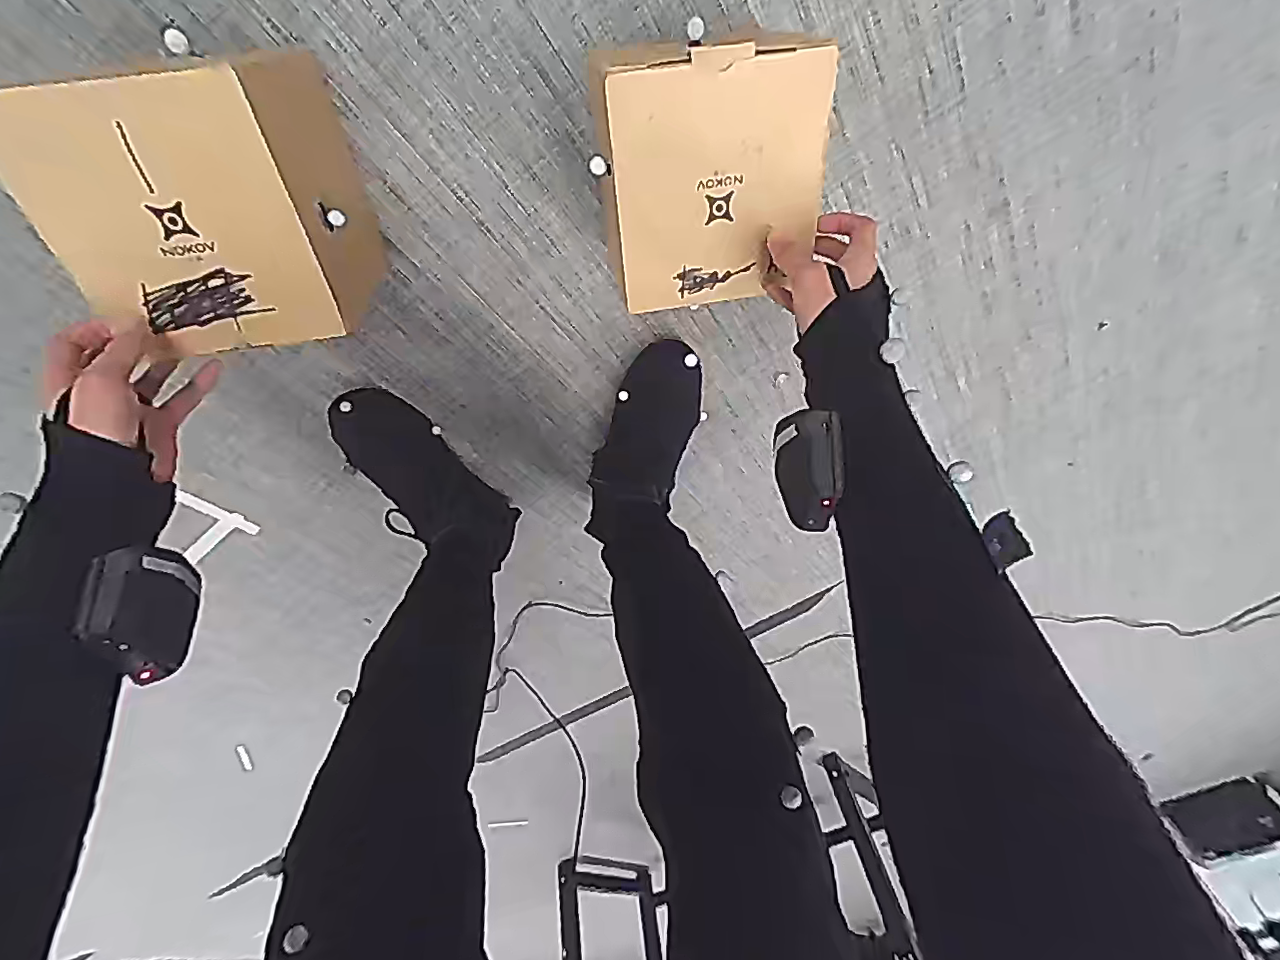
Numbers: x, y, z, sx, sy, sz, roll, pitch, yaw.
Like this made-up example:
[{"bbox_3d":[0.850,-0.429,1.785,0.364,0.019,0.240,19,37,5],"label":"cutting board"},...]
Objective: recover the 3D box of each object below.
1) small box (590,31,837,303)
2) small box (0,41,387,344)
[{"bbox_3d":[0.051,-0.282,0.483,0.168,0.176,0.179,-8,132,-4],"label":"small box"},{"bbox_3d":[-0.331,-0.237,0.443,0.168,0.176,0.179,-9,132,-4],"label":"small box"}]
